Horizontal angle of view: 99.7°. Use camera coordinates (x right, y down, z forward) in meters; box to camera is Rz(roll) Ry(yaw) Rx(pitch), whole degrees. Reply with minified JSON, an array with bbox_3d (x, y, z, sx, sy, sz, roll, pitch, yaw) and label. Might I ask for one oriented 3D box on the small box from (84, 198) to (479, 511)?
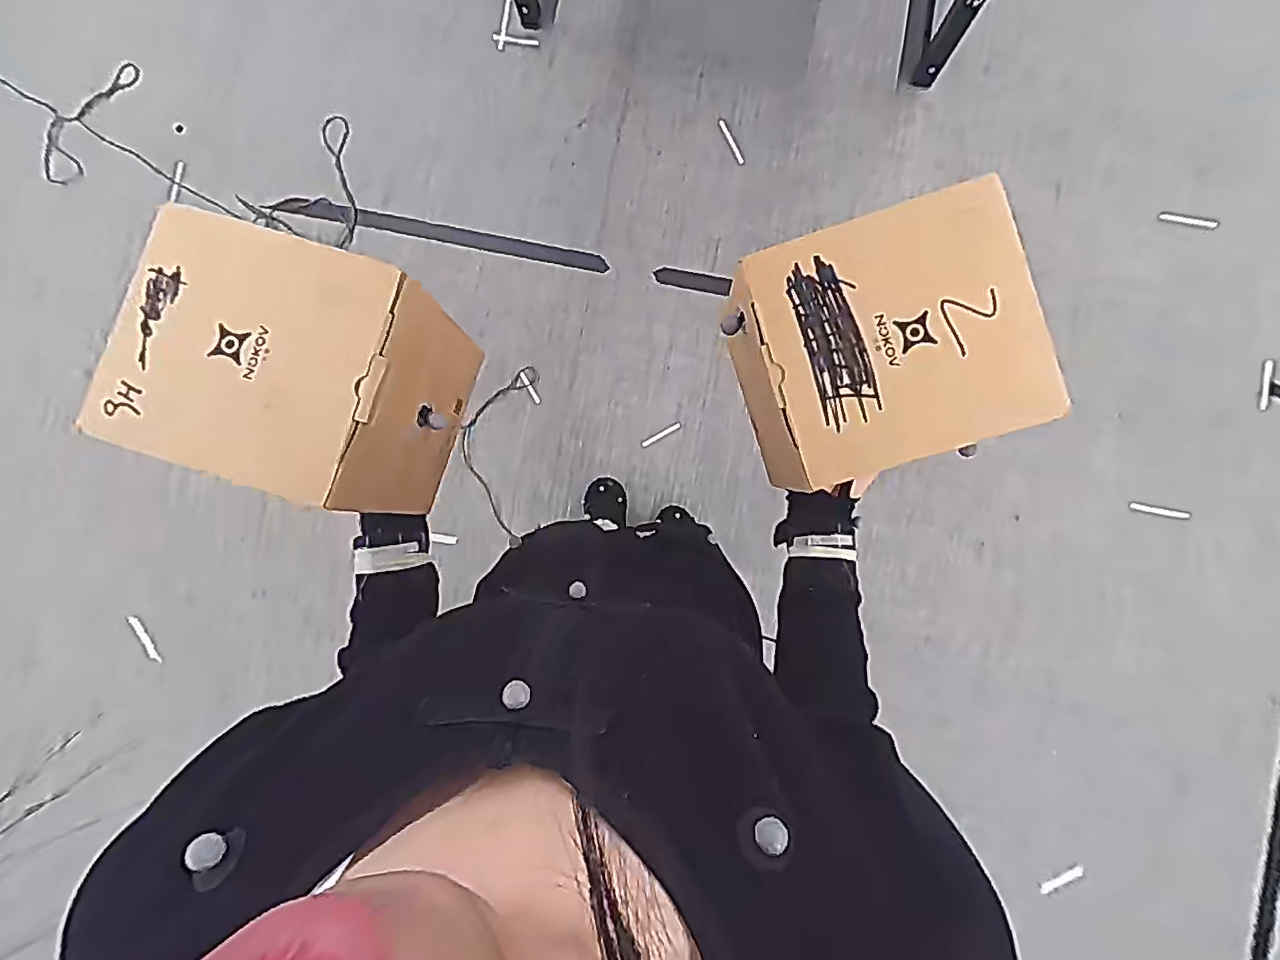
[{"bbox_3d":[-0.251,-0.079,0.430,0.179,0.176,0.168,17,85,1],"label":"small box"}]
